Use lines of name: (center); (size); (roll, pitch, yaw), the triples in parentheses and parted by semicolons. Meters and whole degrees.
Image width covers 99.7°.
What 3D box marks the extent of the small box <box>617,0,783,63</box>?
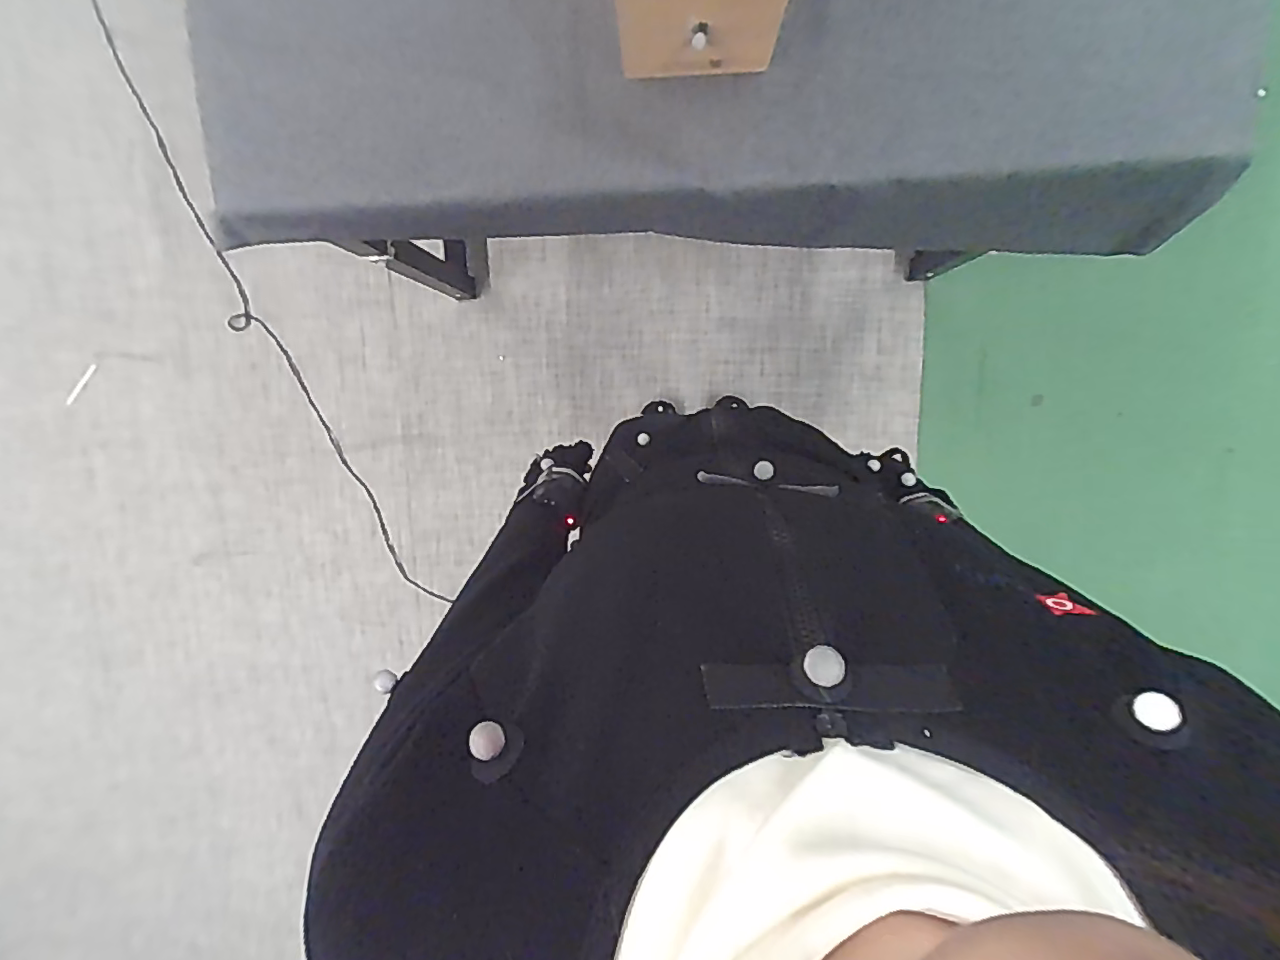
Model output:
small box: (0.059, -0.543, 0.526); (0.168, 0.176, 0.179); (-2, 100, 4)
